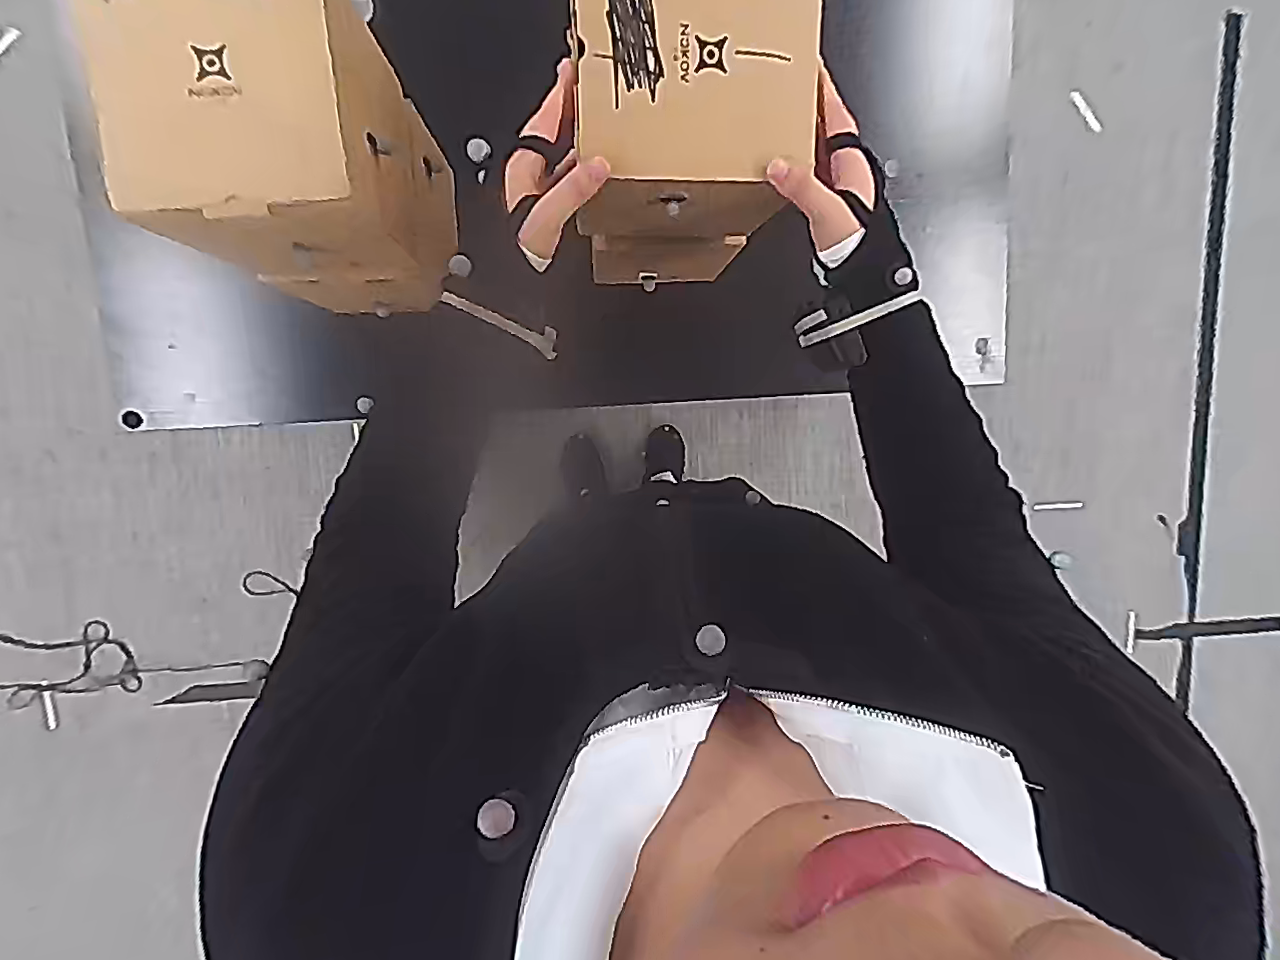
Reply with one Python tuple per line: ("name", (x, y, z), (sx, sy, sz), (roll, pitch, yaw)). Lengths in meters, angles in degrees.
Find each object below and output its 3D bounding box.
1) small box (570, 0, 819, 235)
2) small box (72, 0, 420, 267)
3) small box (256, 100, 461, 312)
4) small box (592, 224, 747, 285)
("small box", (0.033, -0.314, 0.457), (0.179, 0.176, 0.168), (-2, 102, -6))
("small box", (-0.300, -0.286, 0.454), (0.168, 0.176, 0.179), (-5, 98, -4))
("small box", (-0.311, -0.297, 0.617), (0.168, 0.176, 0.179), (-2, 97, -4))
("small box", (0.023, -0.343, 0.642), (0.168, 0.176, 0.179), (-4, 98, -3))
